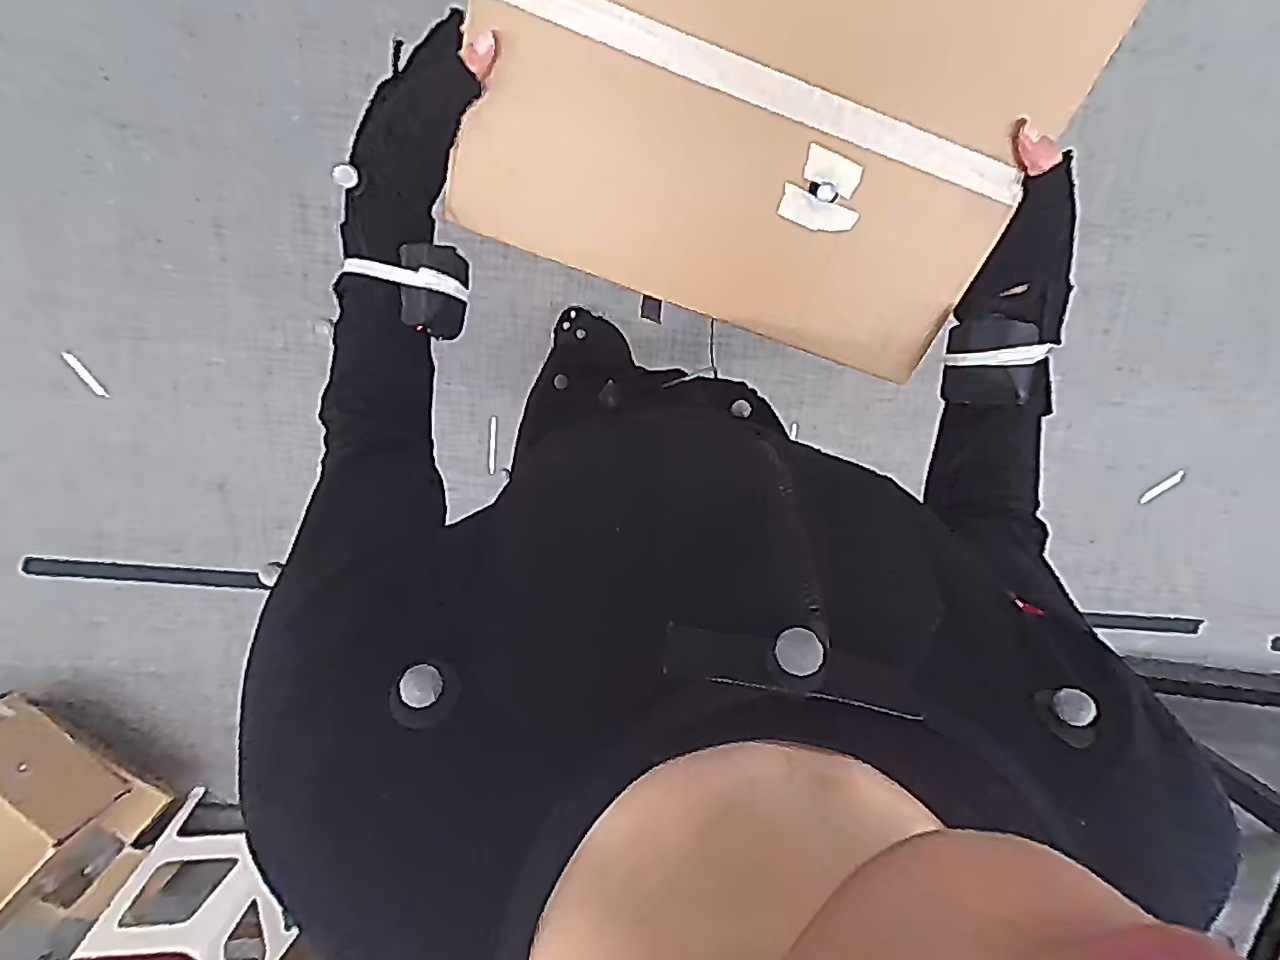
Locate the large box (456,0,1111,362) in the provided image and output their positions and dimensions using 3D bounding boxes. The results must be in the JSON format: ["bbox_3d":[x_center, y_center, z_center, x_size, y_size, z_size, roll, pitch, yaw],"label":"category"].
[{"bbox_3d":[0.088,-0.355,0.505,0.408,0.320,0.320,16,122,-8],"label":"large box"}]
